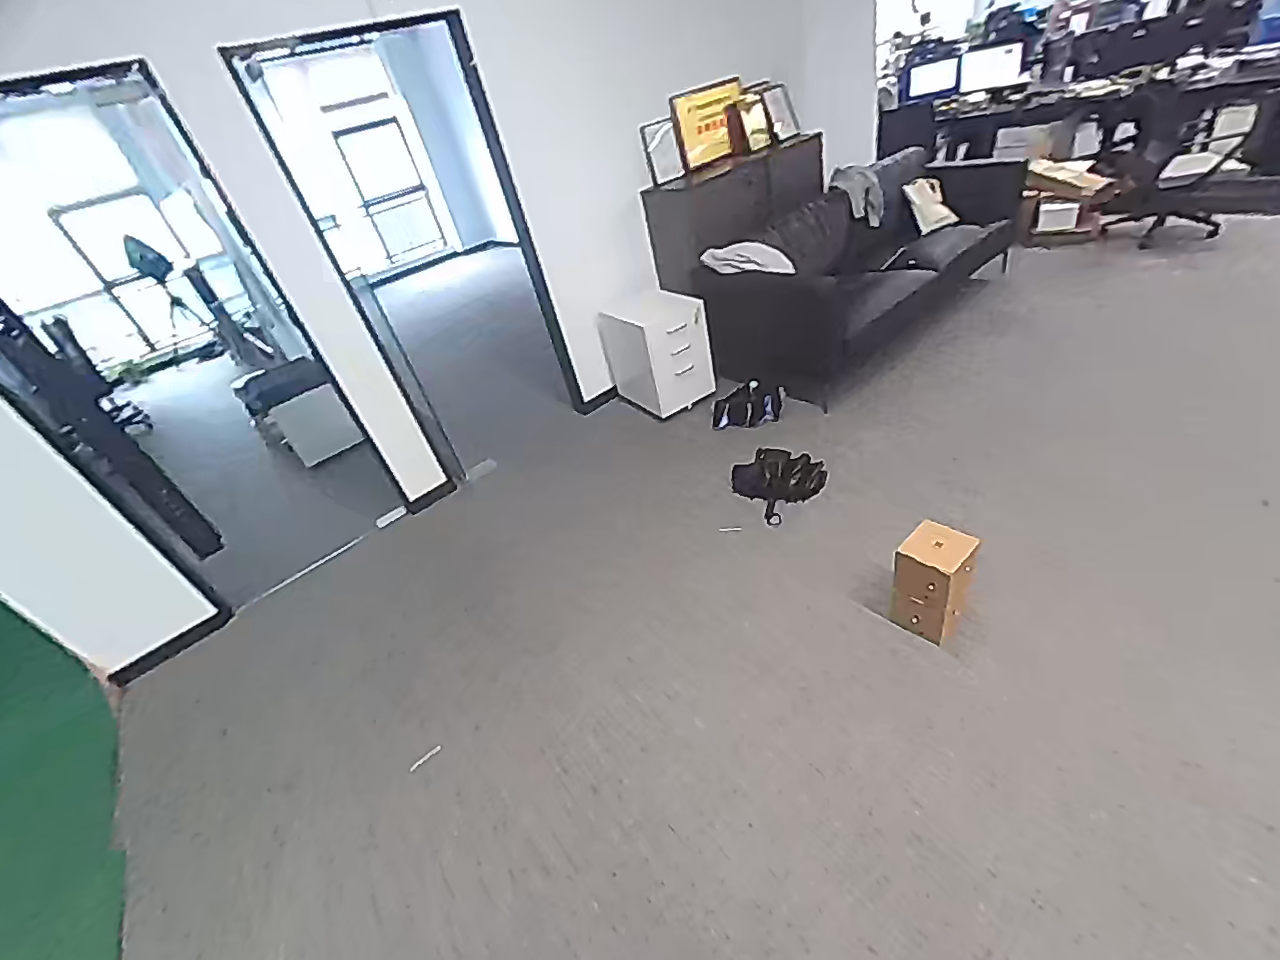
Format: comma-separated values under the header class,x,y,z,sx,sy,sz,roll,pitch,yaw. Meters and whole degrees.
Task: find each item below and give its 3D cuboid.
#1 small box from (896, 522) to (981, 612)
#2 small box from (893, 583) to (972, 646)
class,x,y,z,sx,sy,sz,roll,pitch,yaw
small box,0.898,0.264,1.636,0.179,0.176,0.168,-33,39,-27
small box,0.931,0.394,1.728,0.179,0.176,0.168,-35,39,-26
